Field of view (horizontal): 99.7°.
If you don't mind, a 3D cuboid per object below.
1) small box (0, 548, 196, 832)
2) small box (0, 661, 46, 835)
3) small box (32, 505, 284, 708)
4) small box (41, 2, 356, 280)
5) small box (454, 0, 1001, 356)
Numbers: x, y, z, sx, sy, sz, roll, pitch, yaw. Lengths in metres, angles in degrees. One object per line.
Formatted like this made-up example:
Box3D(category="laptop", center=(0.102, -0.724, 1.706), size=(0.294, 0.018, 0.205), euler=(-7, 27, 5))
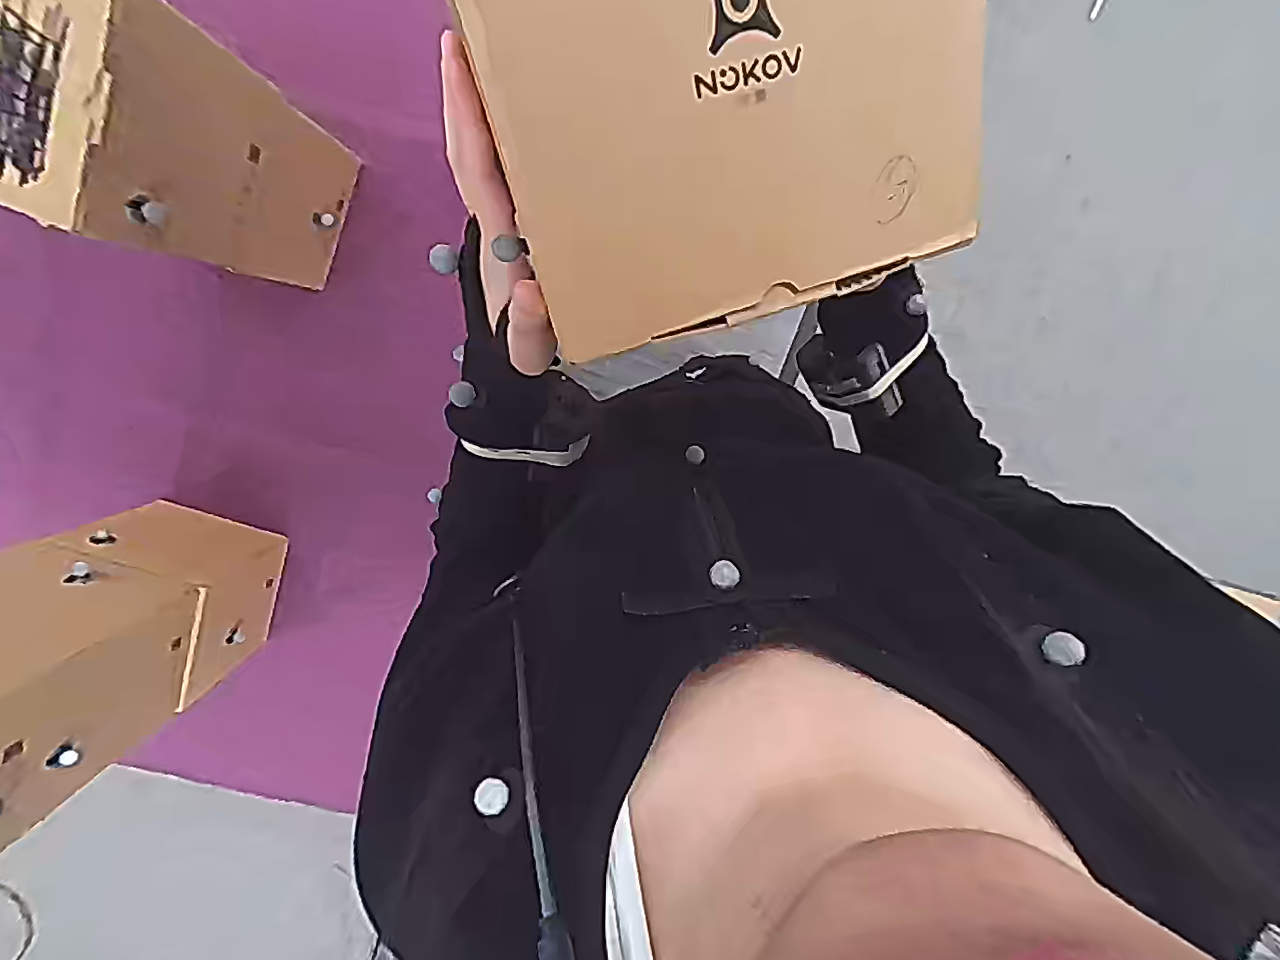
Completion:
Box3D(category="small box", center=(-0.582, 0.180, 0.511), size=(0.179, 0.176, 0.168), euler=(18, 102, -6))
Box3D(category="small box", center=(-0.570, 0.213, 0.350), size=(0.179, 0.176, 0.168), euler=(18, 101, -8))
Box3D(category="small box", center=(-0.585, 0.144, 0.672), size=(0.179, 0.176, 0.168), euler=(18, 101, -7))
Box3D(category="small box", center=(-0.442, -0.327, 0.570), size=(0.179, 0.176, 0.168), euler=(23, 101, -8))
Box3D(category="small box", center=(0.018, -0.175, 0.234), size=(0.168, 0.176, 0.179), euler=(-19, 116, -4))
